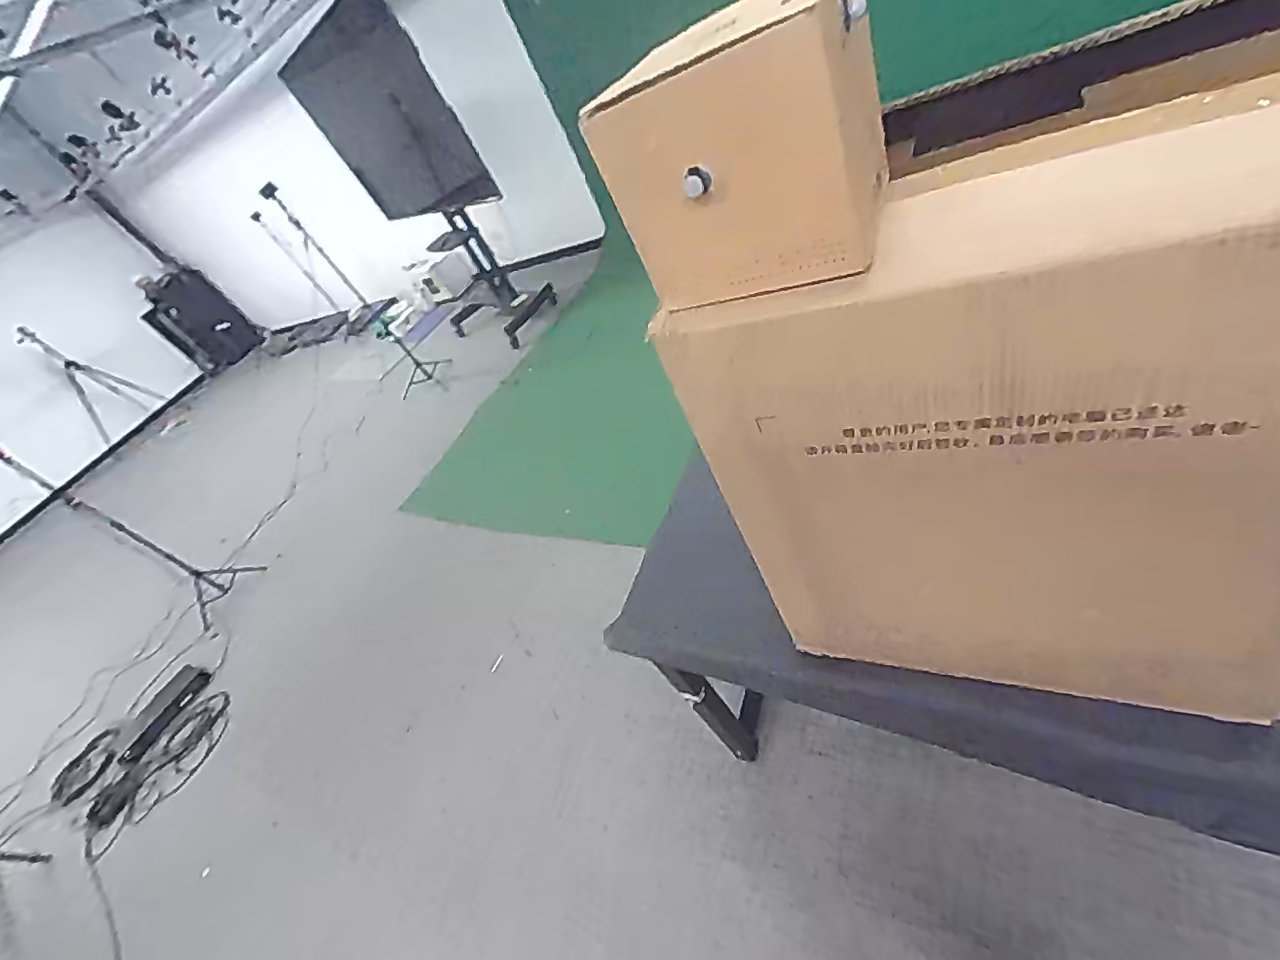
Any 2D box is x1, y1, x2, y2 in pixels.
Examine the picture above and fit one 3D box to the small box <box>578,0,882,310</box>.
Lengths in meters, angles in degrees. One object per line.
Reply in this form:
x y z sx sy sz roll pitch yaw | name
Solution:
0.087 -0.265 0.449 0.179 0.176 0.168 -2 49 34 | small box
